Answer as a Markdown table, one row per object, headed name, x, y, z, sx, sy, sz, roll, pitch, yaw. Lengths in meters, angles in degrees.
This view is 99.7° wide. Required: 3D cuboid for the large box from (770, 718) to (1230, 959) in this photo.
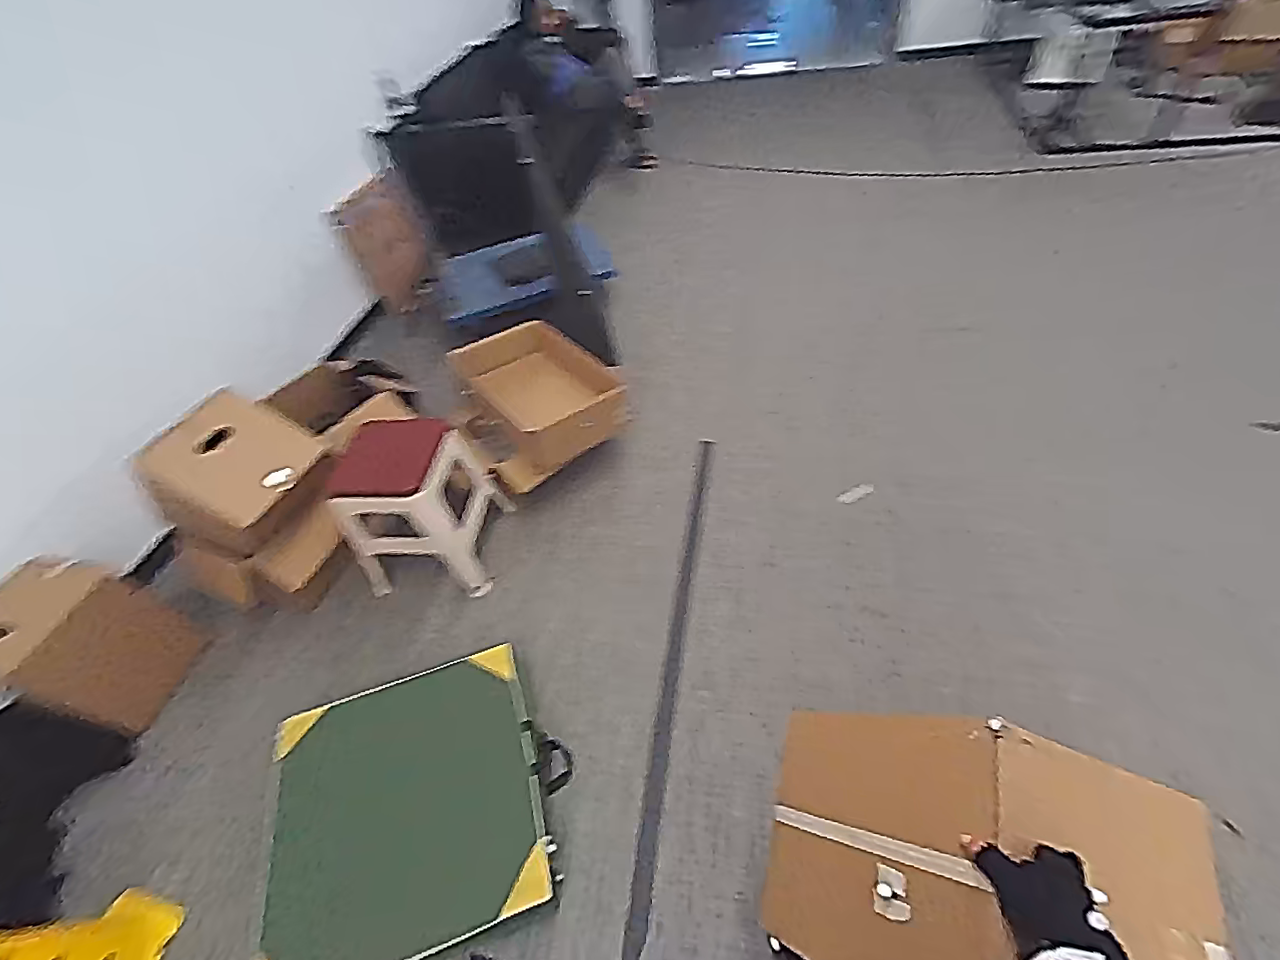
| name | x | y | z | sx | sy | sz | roll | pitch | yaw |
| --- | --- | --- | --- | --- | --- | --- | --- | --- | --- |
| large box | 0.437 | 0.535 | 0.726 | 0.320 | 0.408 | 0.320 | 24 | 63 | -10 |
